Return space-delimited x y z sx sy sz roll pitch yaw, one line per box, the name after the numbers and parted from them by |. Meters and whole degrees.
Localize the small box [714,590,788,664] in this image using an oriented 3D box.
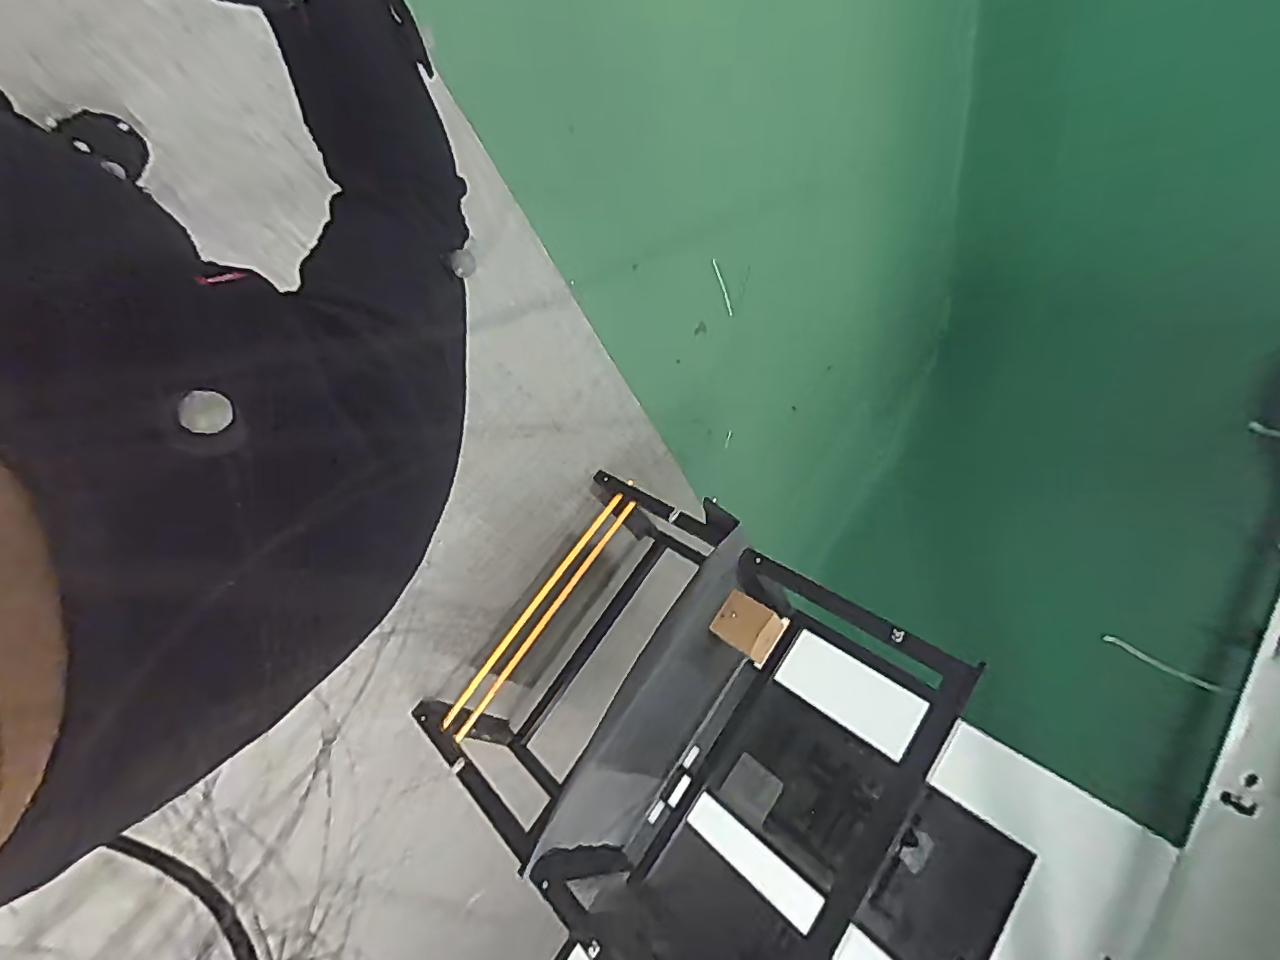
0.383 0.507 1.873 0.168 0.176 0.179 -55 142 -11 | small box
